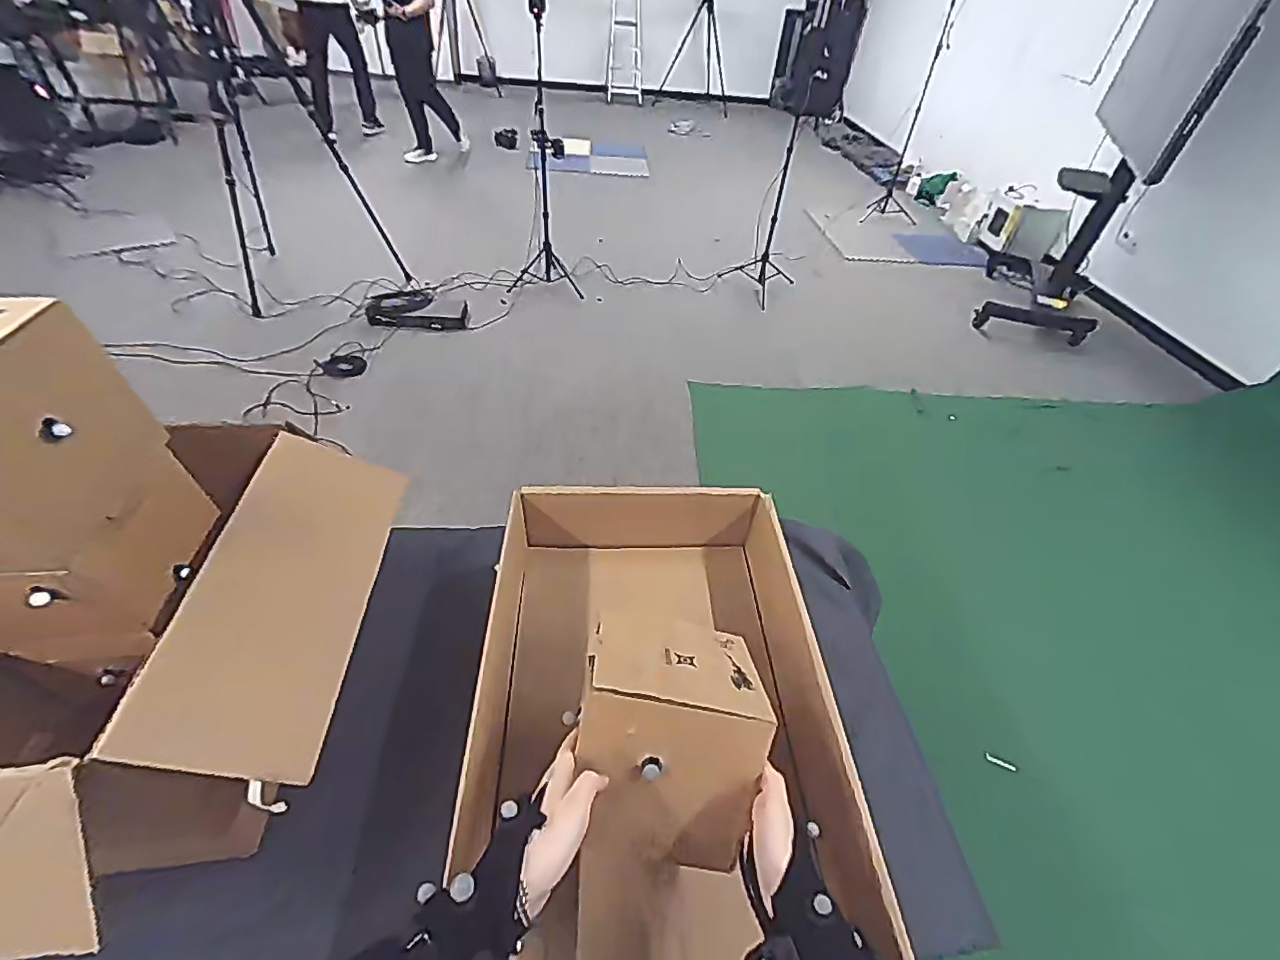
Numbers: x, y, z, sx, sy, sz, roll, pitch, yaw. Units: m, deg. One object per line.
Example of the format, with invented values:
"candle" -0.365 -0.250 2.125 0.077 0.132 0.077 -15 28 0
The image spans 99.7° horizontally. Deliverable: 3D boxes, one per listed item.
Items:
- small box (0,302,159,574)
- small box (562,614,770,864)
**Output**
"small box" -0.580 -0.037 0.469 0.168 0.176 0.179 -1 48 -4
"small box" 0.020 0.268 0.579 0.179 0.176 0.168 11 12 -3
